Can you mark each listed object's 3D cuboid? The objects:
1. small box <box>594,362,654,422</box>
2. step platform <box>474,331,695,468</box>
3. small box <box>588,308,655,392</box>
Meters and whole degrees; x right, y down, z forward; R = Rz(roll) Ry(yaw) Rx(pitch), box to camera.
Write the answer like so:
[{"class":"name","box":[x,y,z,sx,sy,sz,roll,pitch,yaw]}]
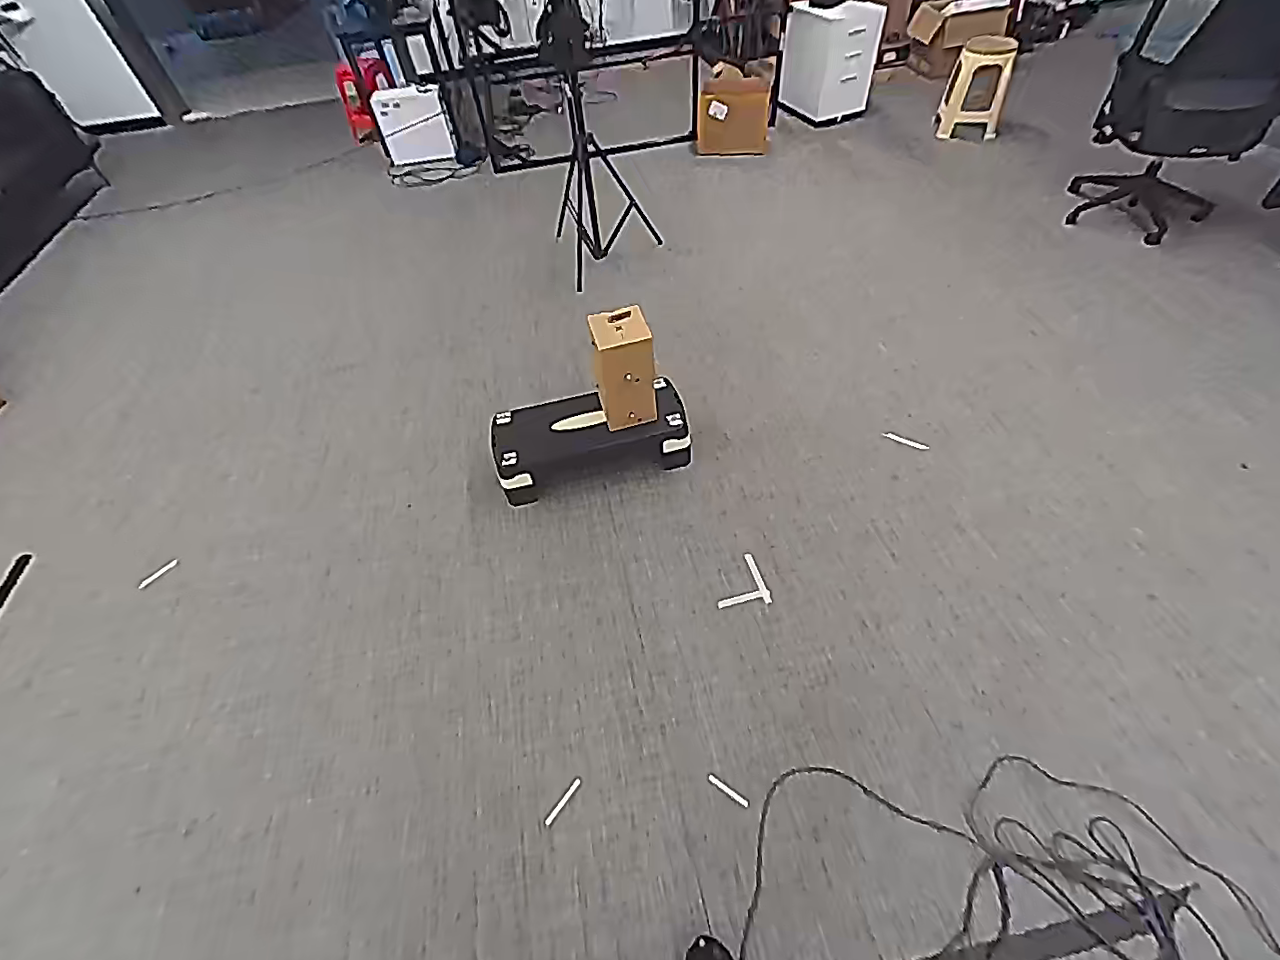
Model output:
[{"class":"small box","box":[-0.051,-0.296,1.812,0.168,0.176,0.179,-15,52,-5]},{"class":"step platform","box":[-0.172,-0.259,1.750,0.684,0.204,0.286,-13,51,-6]},{"class":"small box","box":[-0.057,-0.403,1.688,0.168,0.176,0.179,-15,52,-5]}]
